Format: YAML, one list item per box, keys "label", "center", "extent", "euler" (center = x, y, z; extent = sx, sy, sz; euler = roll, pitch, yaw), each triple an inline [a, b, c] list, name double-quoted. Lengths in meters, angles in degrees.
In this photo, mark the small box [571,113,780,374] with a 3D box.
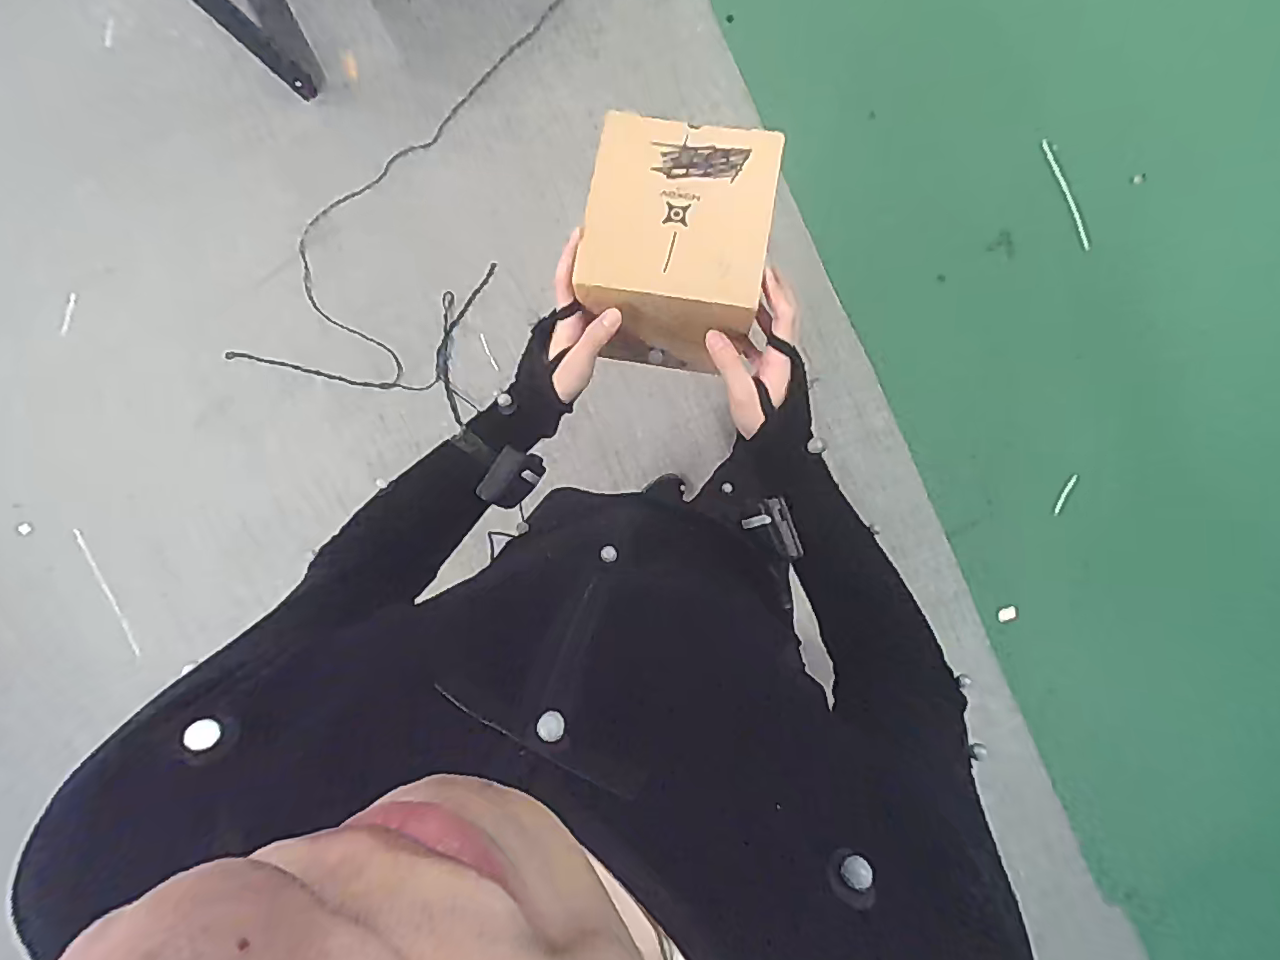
- label: "small box"
  center: [0.036, -0.230, 0.561]
  extent: [0.168, 0.176, 0.179]
  euler: [9, 82, 4]
